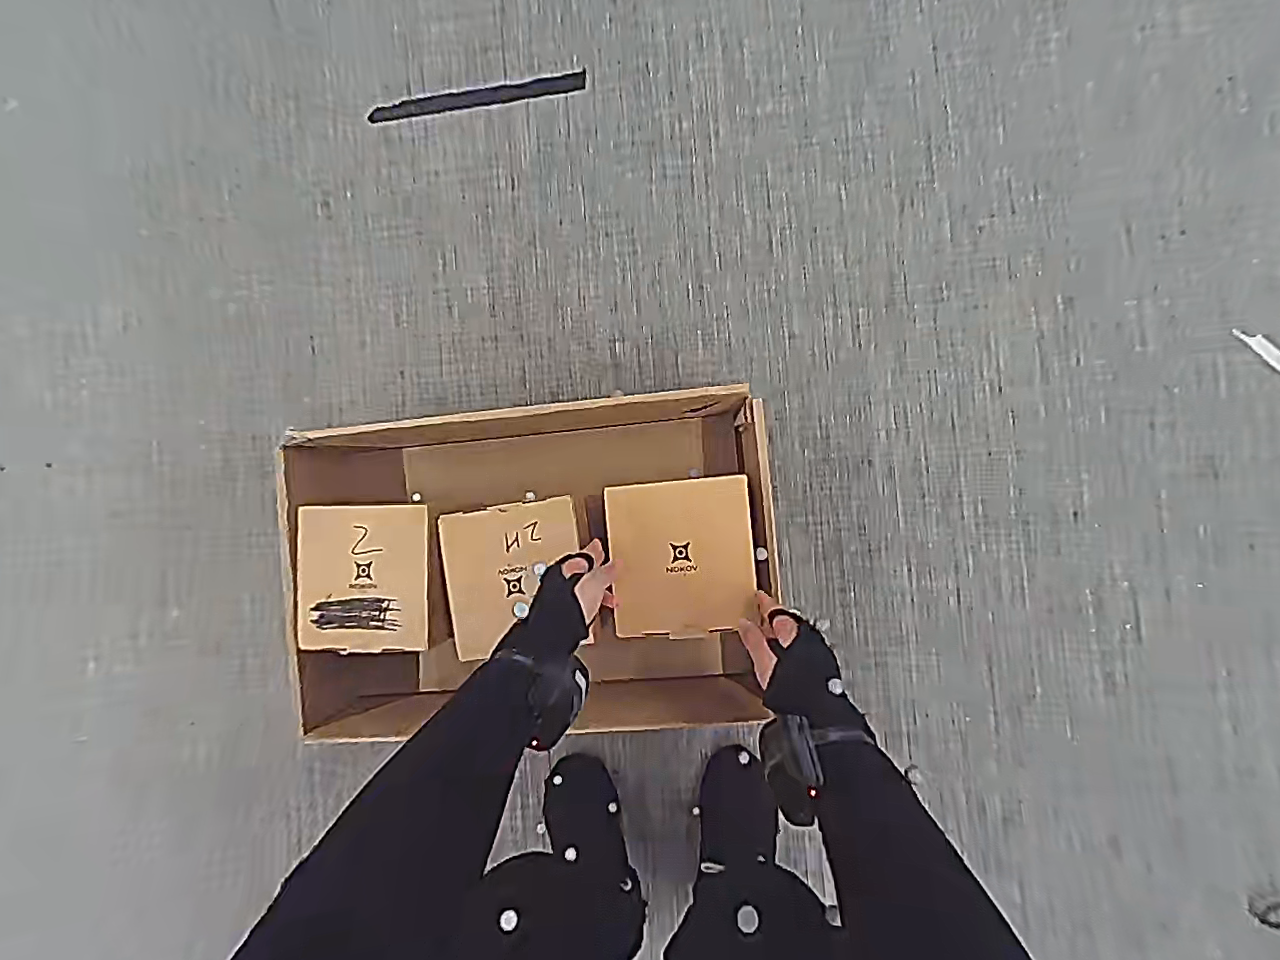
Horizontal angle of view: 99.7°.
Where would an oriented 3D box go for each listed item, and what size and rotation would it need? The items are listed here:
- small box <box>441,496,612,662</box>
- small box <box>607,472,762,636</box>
[{"bbox_3d":[-0.136,0.118,0.708,0.168,0.176,0.179,-9,87,4],"label":"small box"},{"bbox_3d":[0.057,0.087,0.690,0.168,0.176,0.179,-6,89,7],"label":"small box"}]
